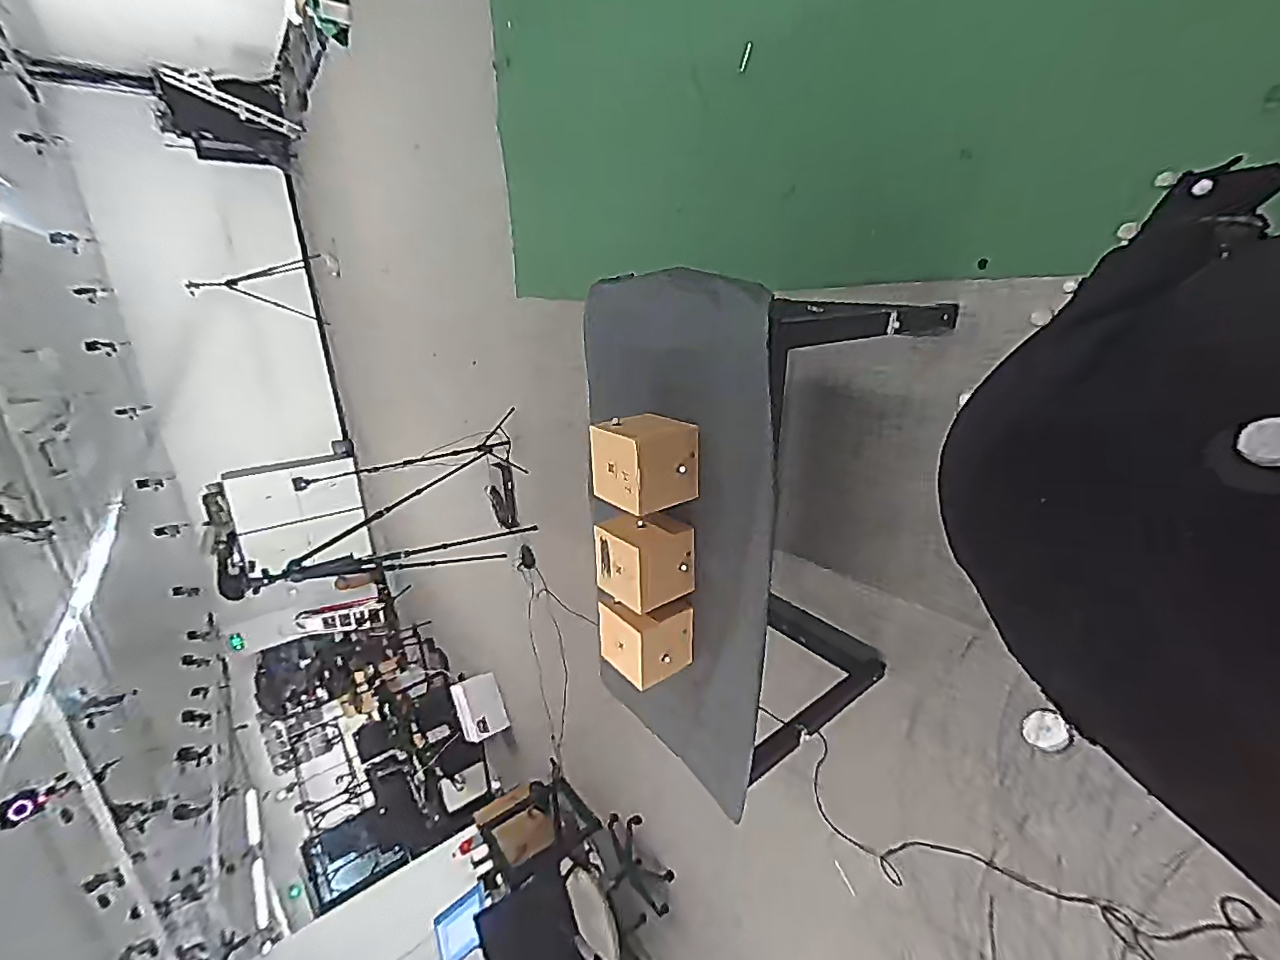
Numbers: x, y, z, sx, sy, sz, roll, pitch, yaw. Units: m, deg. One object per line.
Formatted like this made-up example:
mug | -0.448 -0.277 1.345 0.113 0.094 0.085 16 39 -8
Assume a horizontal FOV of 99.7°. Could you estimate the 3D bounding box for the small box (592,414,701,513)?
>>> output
small box | 0.014 -0.046 1.189 0.179 0.176 0.168 22 121 49
